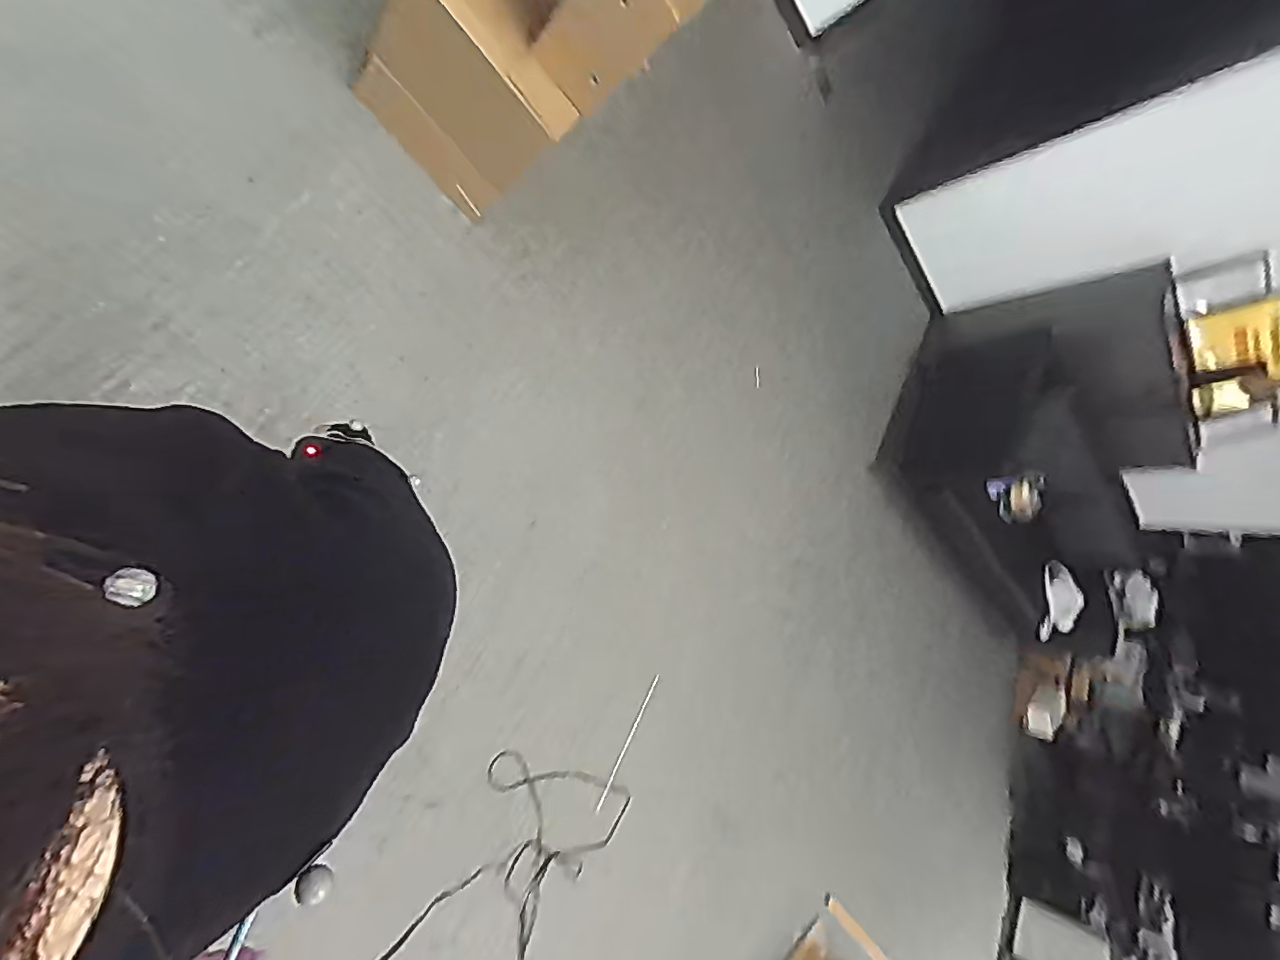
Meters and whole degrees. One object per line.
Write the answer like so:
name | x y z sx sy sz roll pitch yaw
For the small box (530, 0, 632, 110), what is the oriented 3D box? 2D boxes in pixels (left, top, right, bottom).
small box | -0.109 -0.969 1.201 0.179 0.176 0.168 40 65 -30

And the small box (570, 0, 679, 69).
small box | -0.006 -0.970 1.074 0.179 0.176 0.168 41 64 -29
